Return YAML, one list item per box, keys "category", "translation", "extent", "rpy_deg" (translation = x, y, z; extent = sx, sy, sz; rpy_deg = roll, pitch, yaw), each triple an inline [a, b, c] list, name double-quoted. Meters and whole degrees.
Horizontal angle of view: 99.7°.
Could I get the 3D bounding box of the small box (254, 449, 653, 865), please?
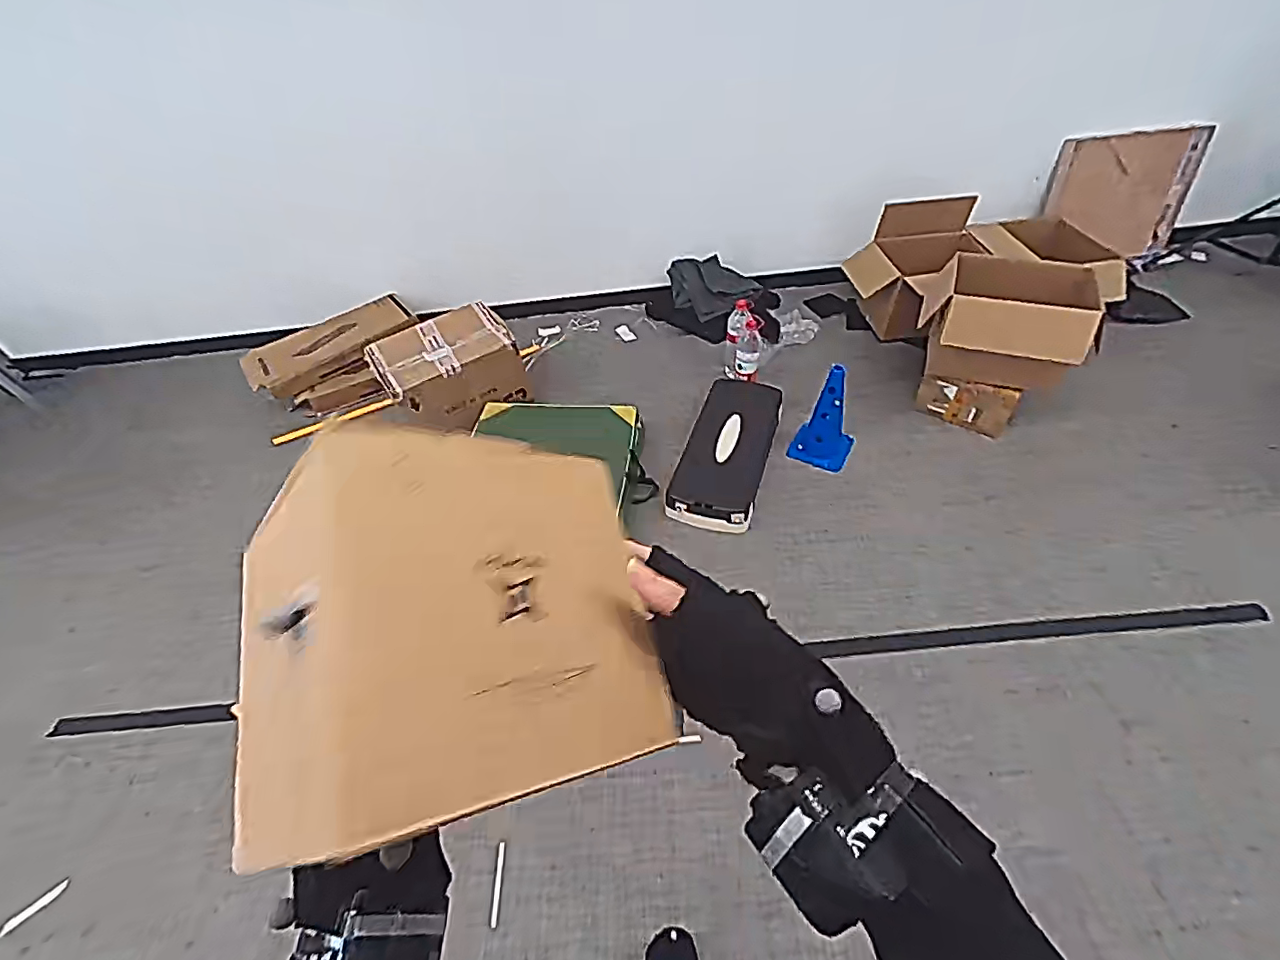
- category: "small box"
  translation: [-0.125, 0.105, 0.330]
  extent: [0.168, 0.176, 0.179]
  rpy_deg: [5, 57, -40]
